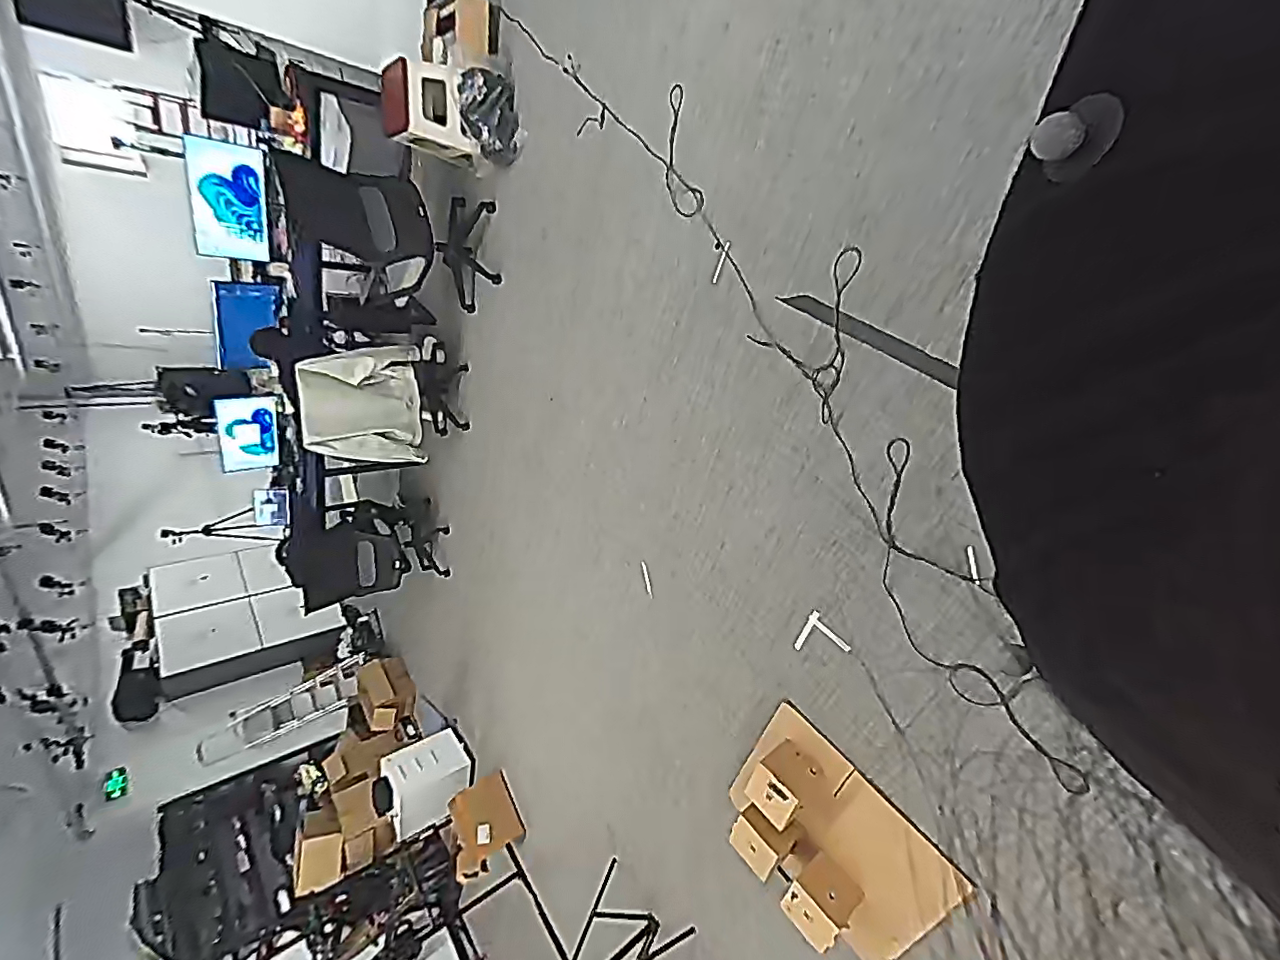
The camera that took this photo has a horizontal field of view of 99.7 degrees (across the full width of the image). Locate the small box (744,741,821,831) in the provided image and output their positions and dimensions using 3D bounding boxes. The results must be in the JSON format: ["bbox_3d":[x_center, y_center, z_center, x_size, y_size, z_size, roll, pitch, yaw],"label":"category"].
[{"bbox_3d":[0.493,1.038,1.850,0.168,0.176,0.179,37,125,38],"label":"small box"}]

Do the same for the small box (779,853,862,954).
[{"bbox_3d":[0.605,1.402,1.801,0.179,0.176,0.168,36,123,37],"label":"small box"}]
